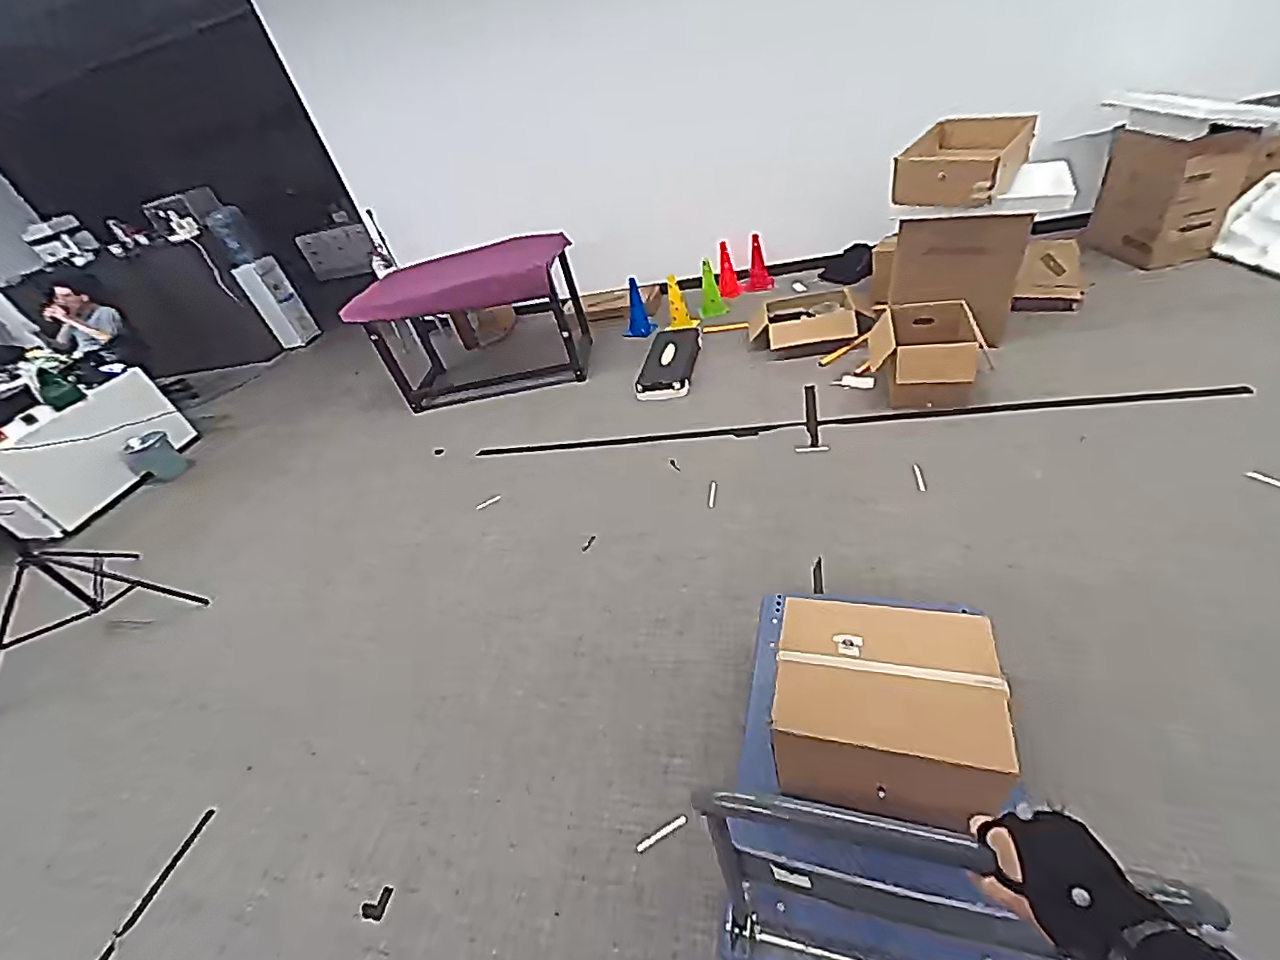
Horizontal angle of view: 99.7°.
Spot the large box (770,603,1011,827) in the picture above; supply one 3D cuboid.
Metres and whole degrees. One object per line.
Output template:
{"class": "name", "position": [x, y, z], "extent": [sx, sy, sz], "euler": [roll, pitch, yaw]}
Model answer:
{"class": "large box", "position": [0.514, 0.496, 1.170], "extent": [0.408, 0.320, 0.320], "euler": [0, 40, 22]}
